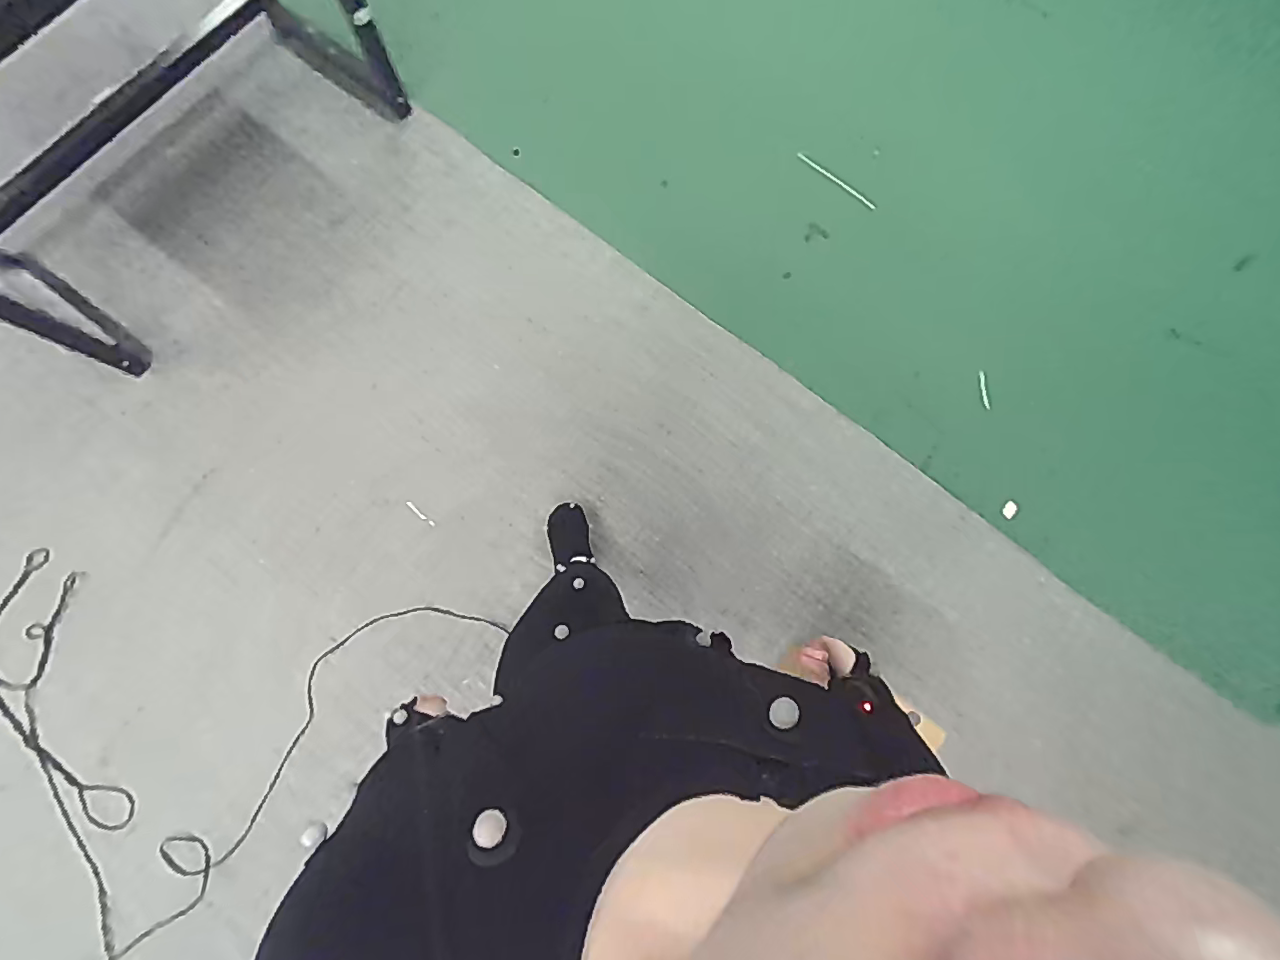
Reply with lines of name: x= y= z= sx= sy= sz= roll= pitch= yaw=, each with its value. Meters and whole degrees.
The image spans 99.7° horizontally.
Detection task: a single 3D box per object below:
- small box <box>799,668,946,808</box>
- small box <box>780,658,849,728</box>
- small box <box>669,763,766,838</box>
small box: x=0.451 y=0.497 z=1.074 sx=0.179 sy=0.176 sz=0.168 roll=36 pitch=78 yaw=5
small box: x=0.448 y=0.527 z=1.234 sx=0.179 sy=0.176 sz=0.168 roll=35 pitch=80 yaw=4
small box: x=0.190 y=0.840 z=1.333 sx=0.179 sy=0.176 sz=0.168 roll=44 pitch=81 yaw=6
